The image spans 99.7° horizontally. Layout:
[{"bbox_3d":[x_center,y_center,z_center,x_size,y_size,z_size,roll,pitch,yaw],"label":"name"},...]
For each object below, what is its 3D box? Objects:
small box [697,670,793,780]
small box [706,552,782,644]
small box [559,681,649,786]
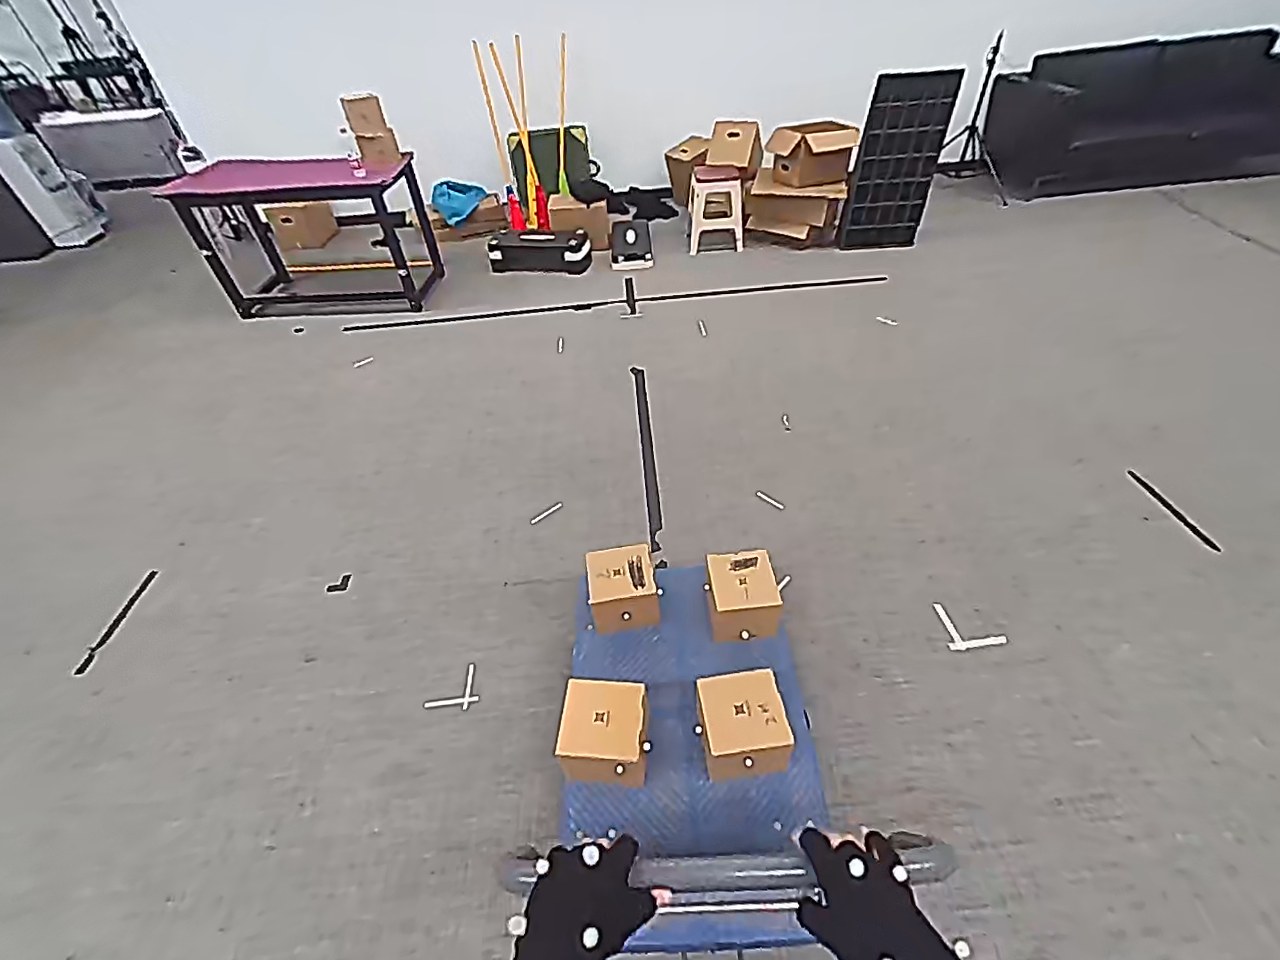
[{"bbox_3d":[0.229,0.556,1.221,0.179,0.176,0.168,-8,44,-2],"label":"small box"},{"bbox_3d":[0.273,0.319,1.462,0.168,0.176,0.179,-6,45,0],"label":"small box"},{"bbox_3d":[-0.074,0.577,1.229,0.179,0.176,0.168,2,44,5],"label":"small box"}]
